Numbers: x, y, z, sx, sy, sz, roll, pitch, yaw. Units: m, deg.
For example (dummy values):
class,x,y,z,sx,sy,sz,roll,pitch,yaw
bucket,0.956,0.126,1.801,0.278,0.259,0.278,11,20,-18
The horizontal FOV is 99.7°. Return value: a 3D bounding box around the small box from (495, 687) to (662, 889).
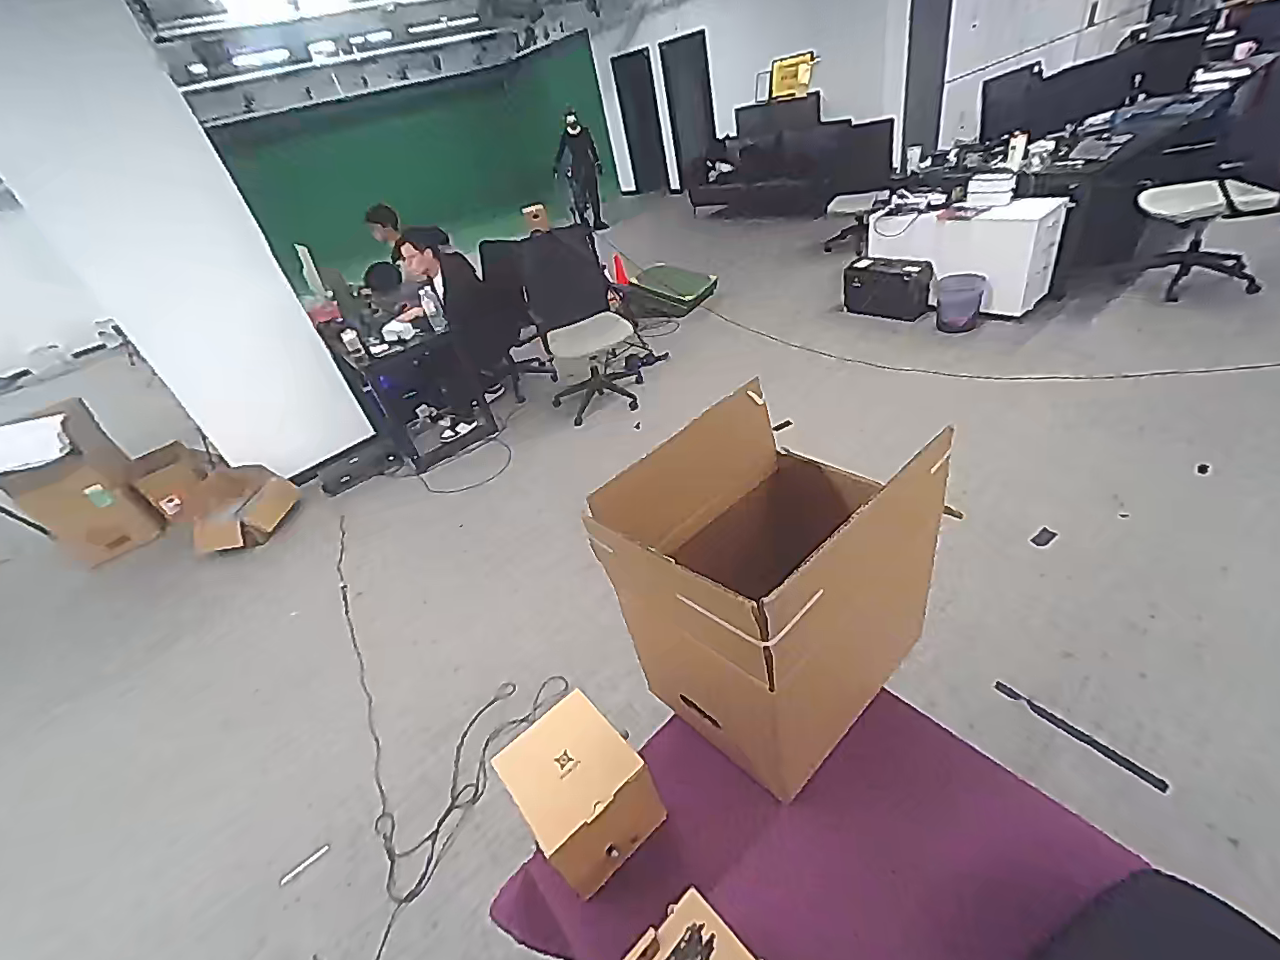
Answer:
class,x,y,z,sx,sy,sz,roll,pitch,yaw
small box,-0.089,0.464,0.821,0.168,0.176,0.179,-33,41,-25
